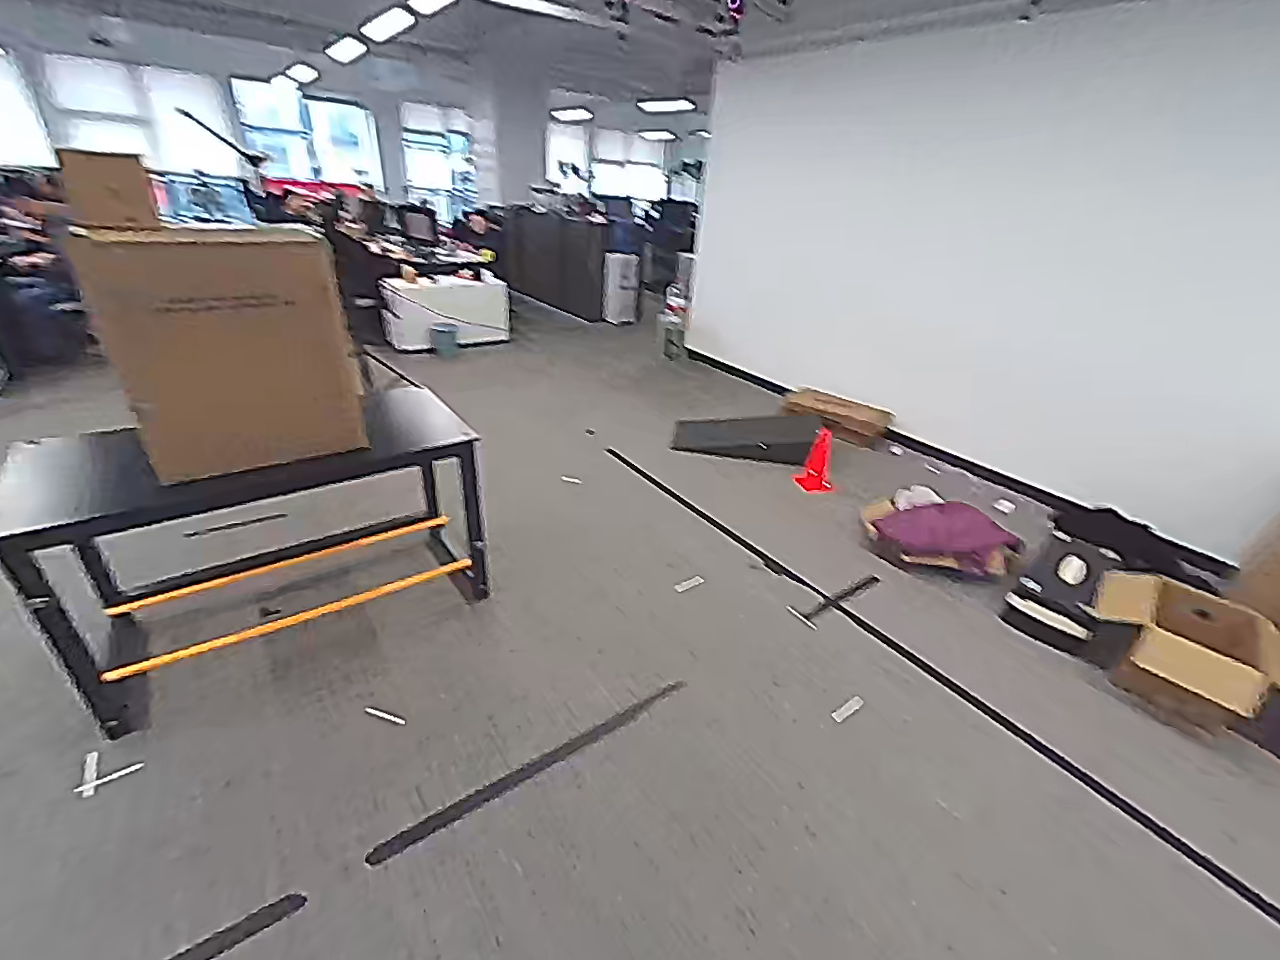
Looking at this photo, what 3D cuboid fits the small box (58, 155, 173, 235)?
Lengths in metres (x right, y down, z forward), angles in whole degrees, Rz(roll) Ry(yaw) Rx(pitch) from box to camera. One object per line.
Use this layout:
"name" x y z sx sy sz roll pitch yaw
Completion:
"small box" -1.318 -0.721 1.373 0.168 0.176 0.179 -15 33 -33
